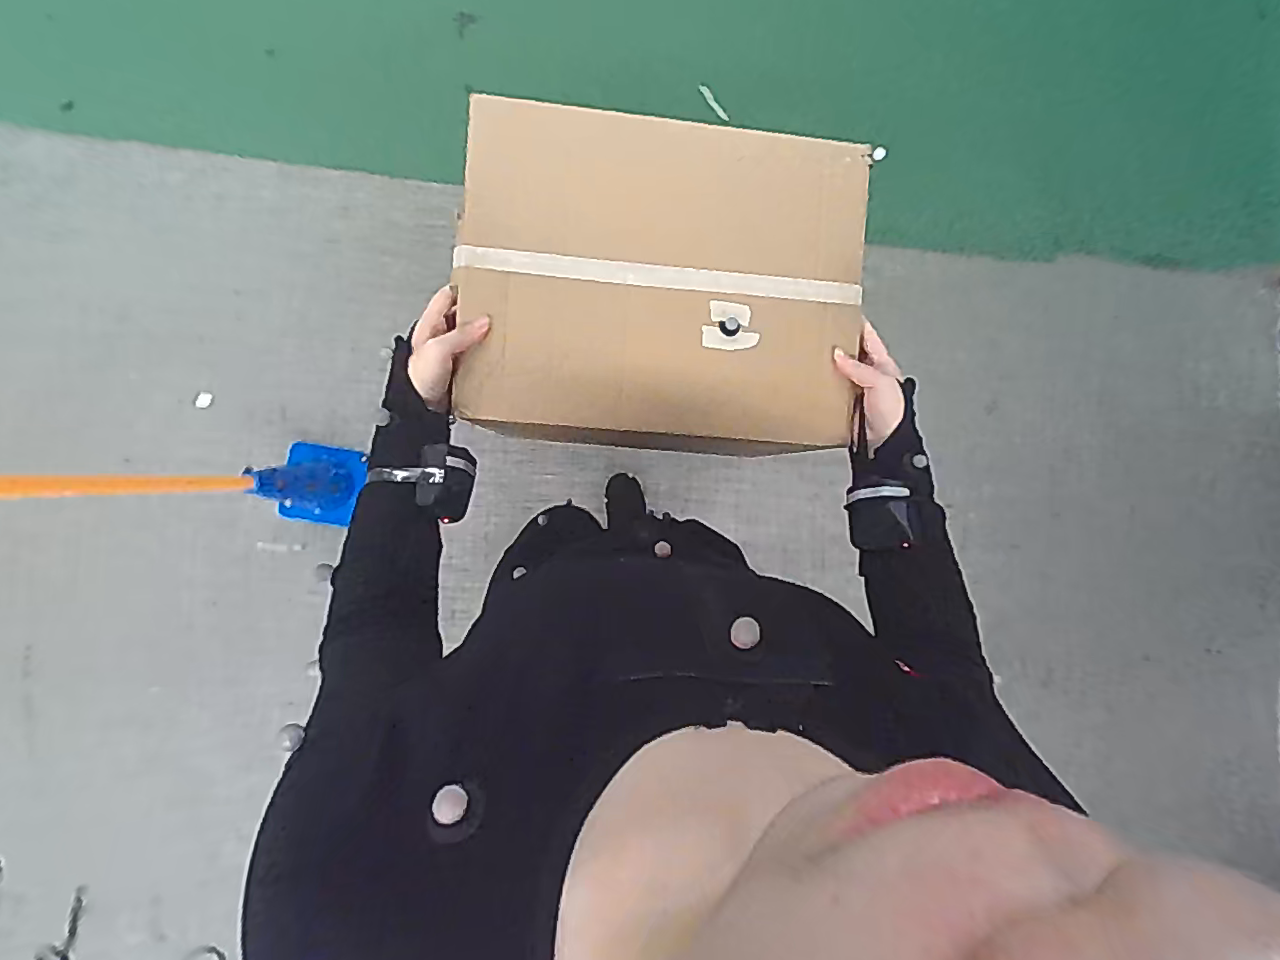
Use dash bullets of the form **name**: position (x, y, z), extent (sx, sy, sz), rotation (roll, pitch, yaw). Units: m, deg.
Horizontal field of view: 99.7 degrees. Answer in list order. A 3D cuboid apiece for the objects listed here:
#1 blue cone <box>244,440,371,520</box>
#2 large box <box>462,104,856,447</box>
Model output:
- **blue cone**: position (-0.779, -0.006, 1.228), extent (0.193, 0.380, 0.192), rotation (12, 85, -8)
- **large box**: position (0.009, -0.210, 0.694), extent (0.408, 0.320, 0.320), rotation (3, 91, -6)
